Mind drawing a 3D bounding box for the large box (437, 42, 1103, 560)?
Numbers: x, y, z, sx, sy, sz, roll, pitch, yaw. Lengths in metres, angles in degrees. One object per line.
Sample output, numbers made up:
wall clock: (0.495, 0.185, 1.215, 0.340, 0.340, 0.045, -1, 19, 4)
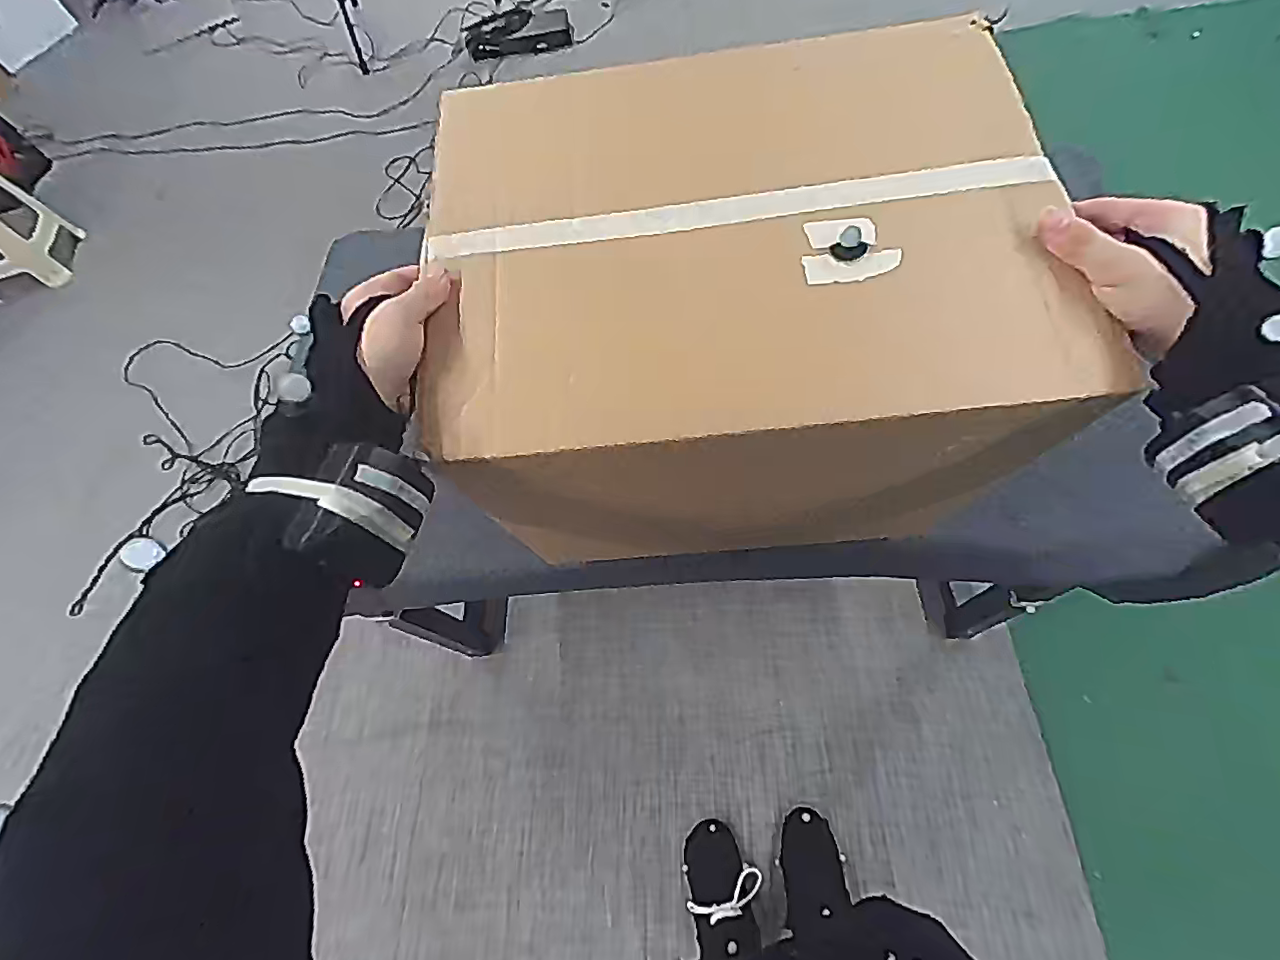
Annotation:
large box: (0.070, -0.124, 0.511, 0.408, 0.320, 0.320, -6, 70, 3)
